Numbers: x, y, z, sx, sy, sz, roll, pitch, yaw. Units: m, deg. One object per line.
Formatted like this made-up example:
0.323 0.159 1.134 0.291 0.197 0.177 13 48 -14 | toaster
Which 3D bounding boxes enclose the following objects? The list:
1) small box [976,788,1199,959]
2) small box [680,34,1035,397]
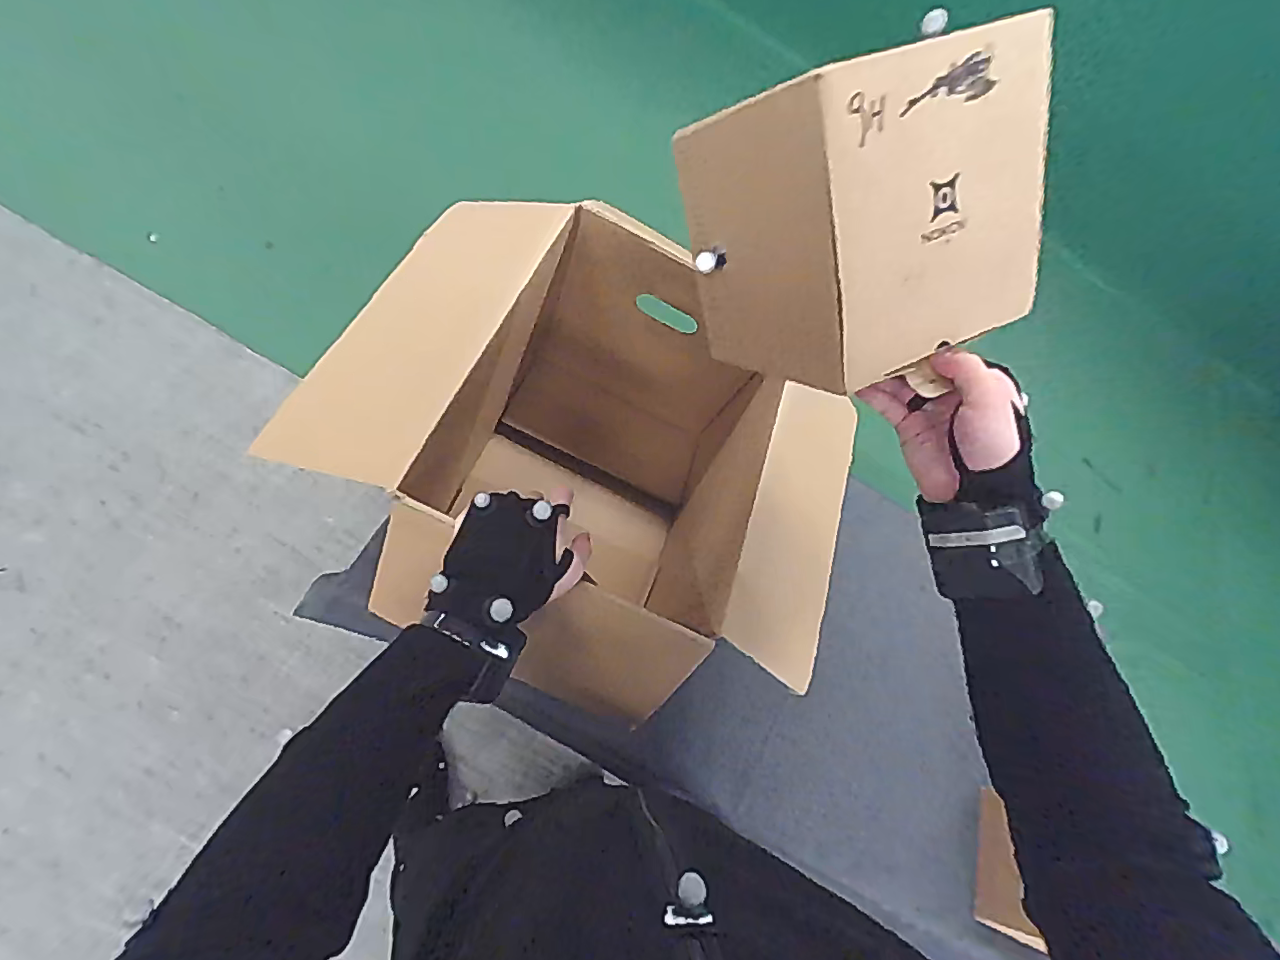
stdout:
0.593 0.547 0.735 0.168 0.176 0.179 29 60 -5 | small box
0.151 -0.186 0.407 0.168 0.176 0.179 -25 117 -14 | small box
